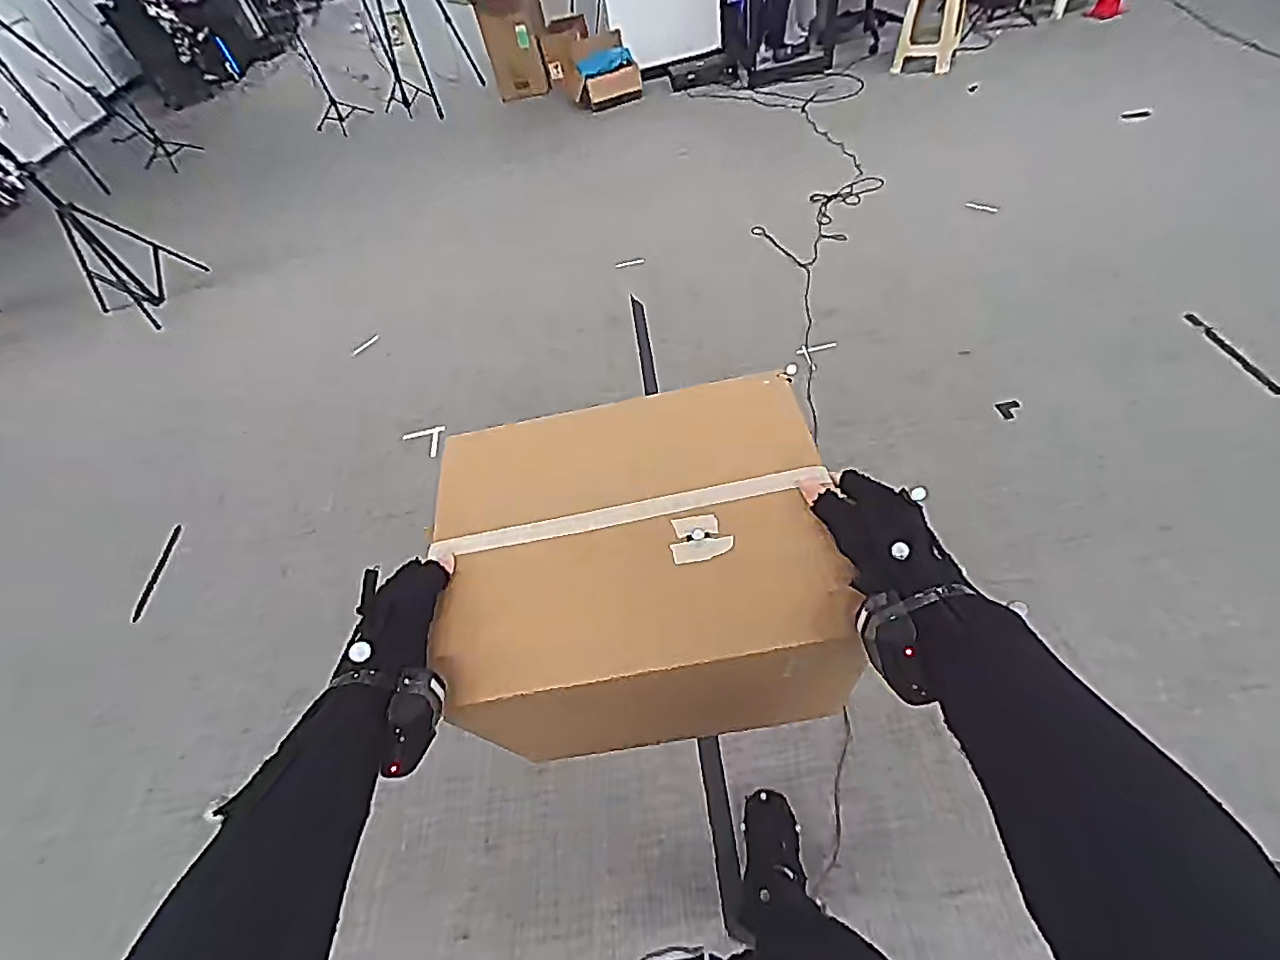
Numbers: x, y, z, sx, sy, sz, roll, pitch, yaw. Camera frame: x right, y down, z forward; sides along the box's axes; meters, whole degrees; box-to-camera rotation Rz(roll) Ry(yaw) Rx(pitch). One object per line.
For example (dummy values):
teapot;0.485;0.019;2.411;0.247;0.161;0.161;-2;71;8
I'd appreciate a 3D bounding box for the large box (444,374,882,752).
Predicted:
large box;0.018;0.118;0.680;0.408;0.320;0.320;-11;54;3
